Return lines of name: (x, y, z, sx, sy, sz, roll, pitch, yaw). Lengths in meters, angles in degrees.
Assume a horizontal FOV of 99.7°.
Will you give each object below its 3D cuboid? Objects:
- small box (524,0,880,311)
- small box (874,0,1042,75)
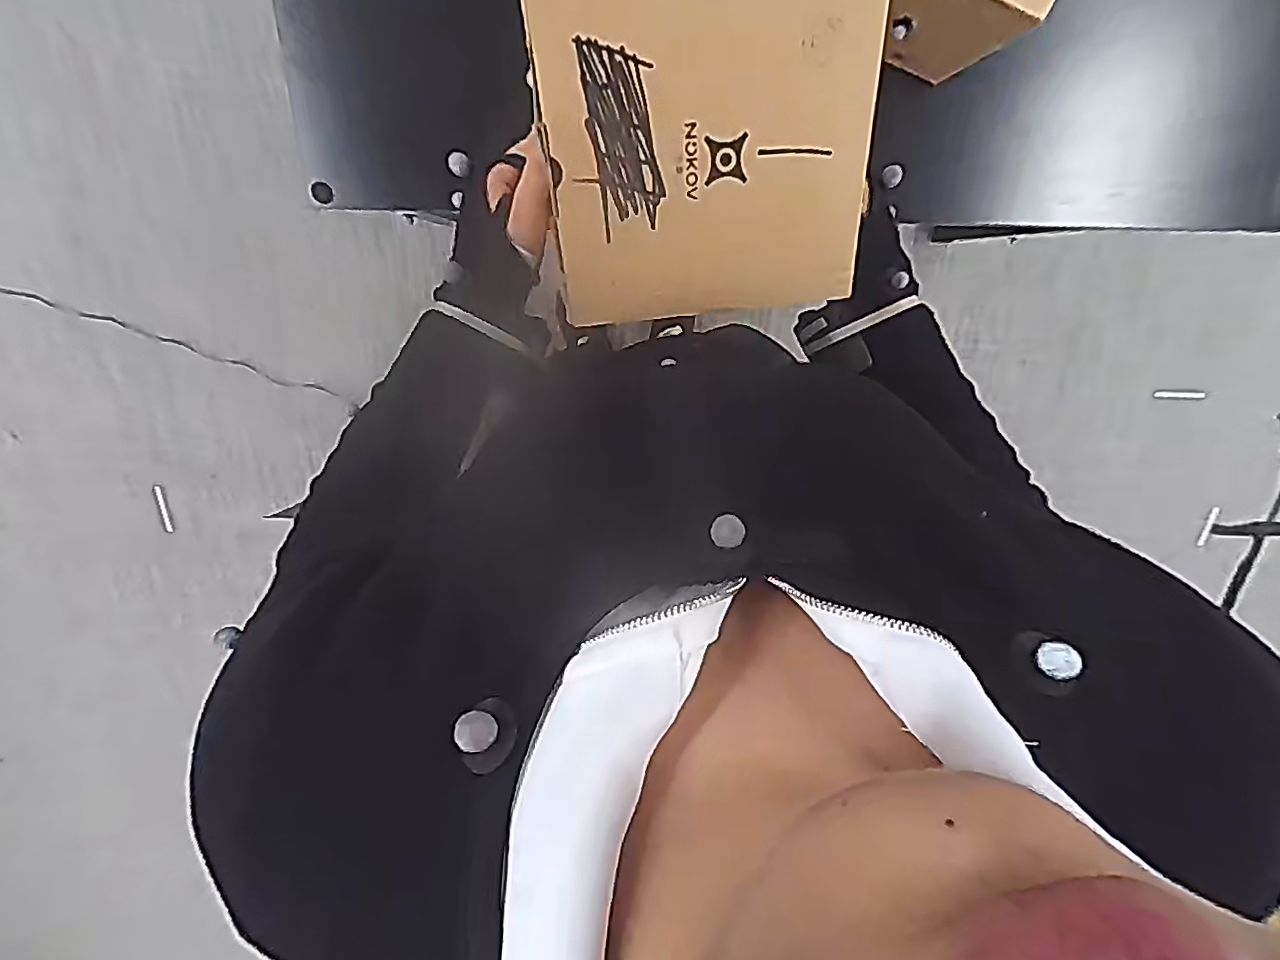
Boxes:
small box: (0.030, -0.223, 0.362, 0.179, 0.176, 0.168, -6, 123, -2)
small box: (0.288, -0.524, 0.502, 0.168, 0.176, 0.179, 17, 109, -10)
